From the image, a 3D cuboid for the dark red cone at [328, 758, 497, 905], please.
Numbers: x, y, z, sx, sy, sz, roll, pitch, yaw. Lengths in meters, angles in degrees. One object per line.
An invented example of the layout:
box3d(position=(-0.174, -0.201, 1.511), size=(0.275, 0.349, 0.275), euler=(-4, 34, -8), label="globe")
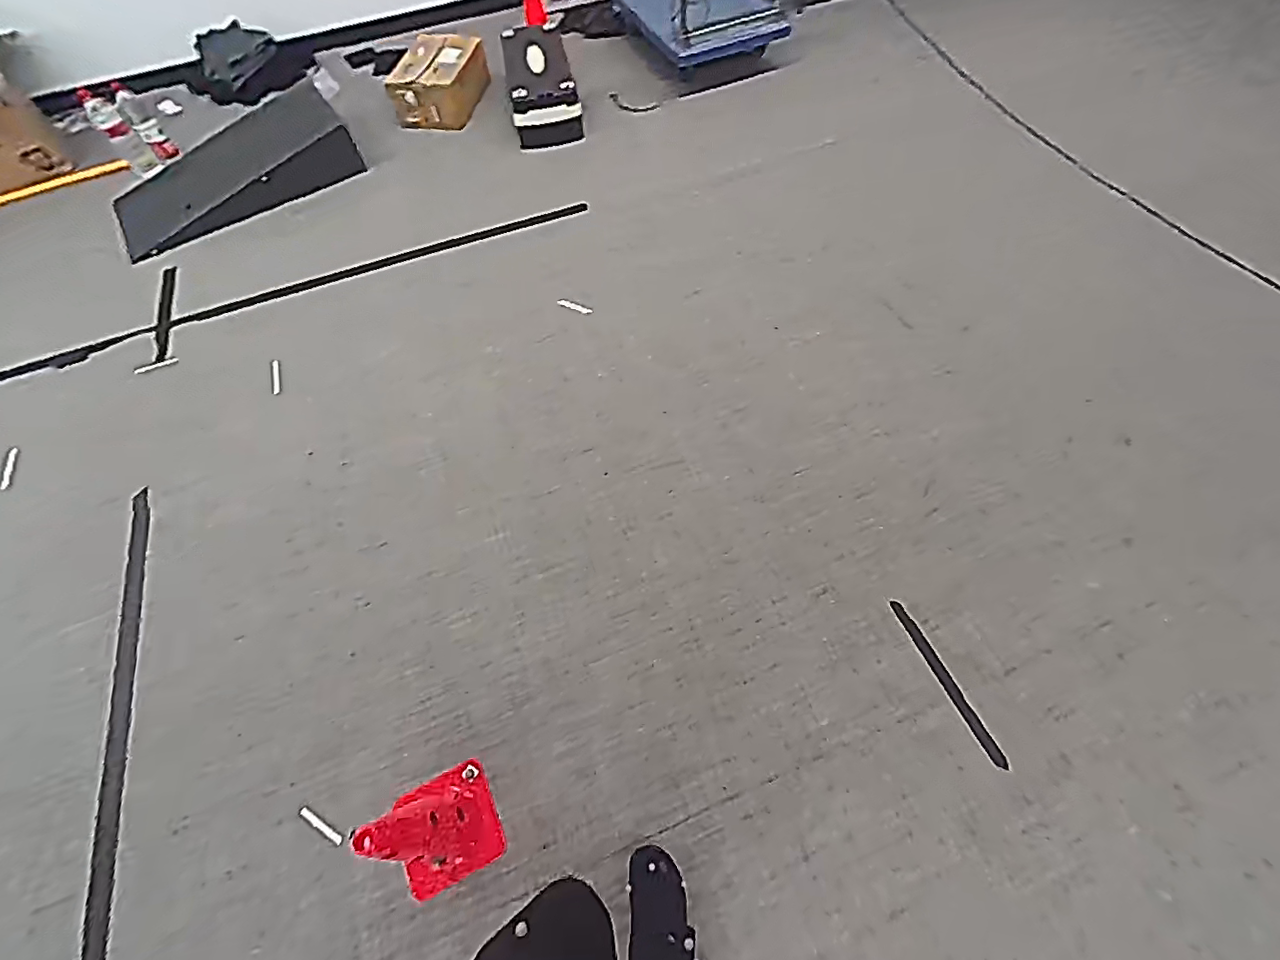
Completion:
box3d(position=(-0.419, 0.624, 0.952), size=(0.201, 0.394, 0.202), euler=(-27, 62, -10), label="dark red cone")
